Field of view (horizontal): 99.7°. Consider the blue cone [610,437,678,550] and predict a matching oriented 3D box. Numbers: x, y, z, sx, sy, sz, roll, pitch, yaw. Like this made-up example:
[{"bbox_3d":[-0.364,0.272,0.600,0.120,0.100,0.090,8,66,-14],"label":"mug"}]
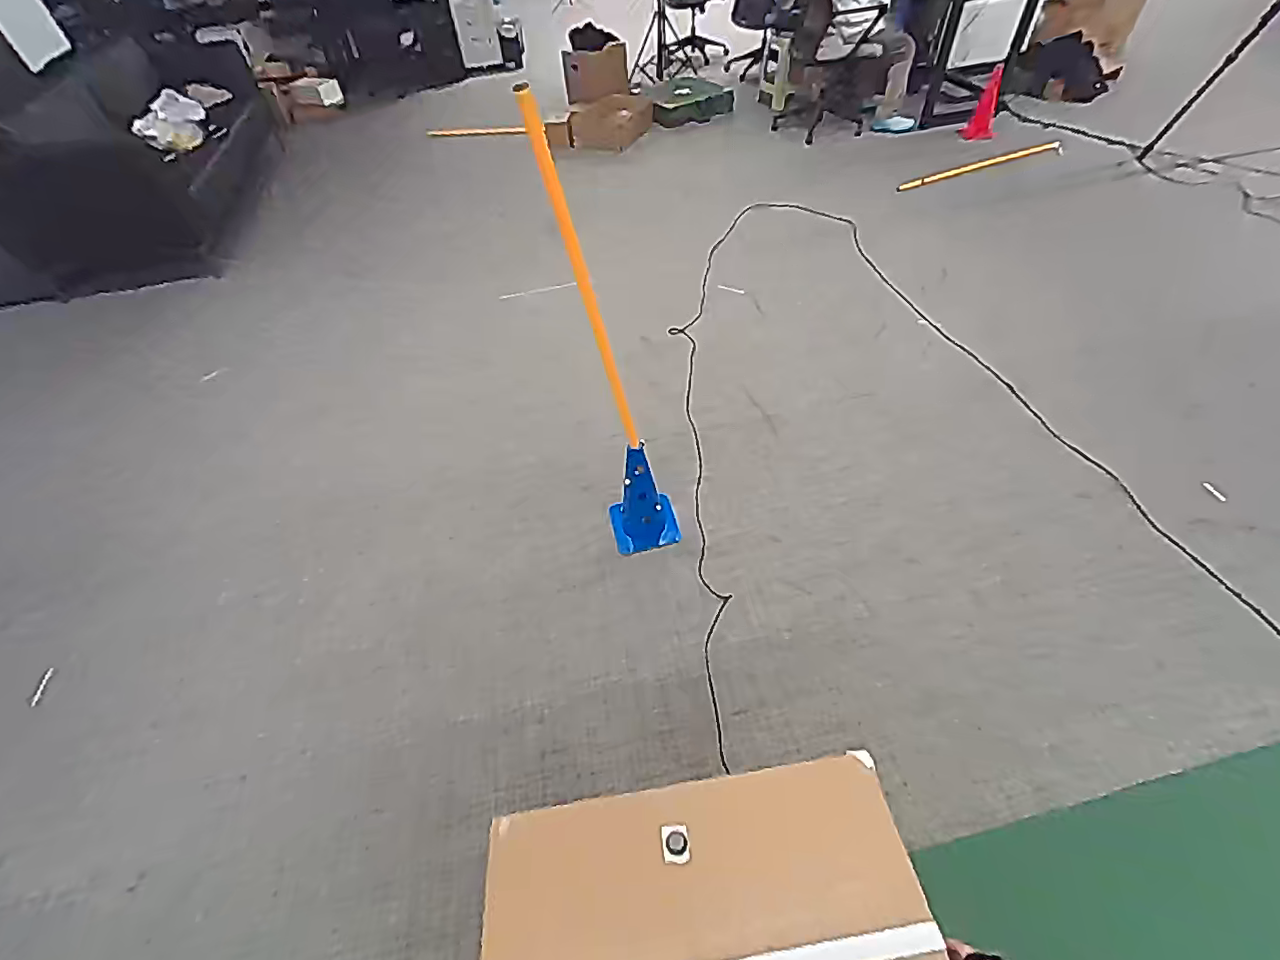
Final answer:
[{"bbox_3d":[-0.003,0.024,1.576,0.193,0.380,0.192,-16,49,-6],"label":"blue cone"}]
